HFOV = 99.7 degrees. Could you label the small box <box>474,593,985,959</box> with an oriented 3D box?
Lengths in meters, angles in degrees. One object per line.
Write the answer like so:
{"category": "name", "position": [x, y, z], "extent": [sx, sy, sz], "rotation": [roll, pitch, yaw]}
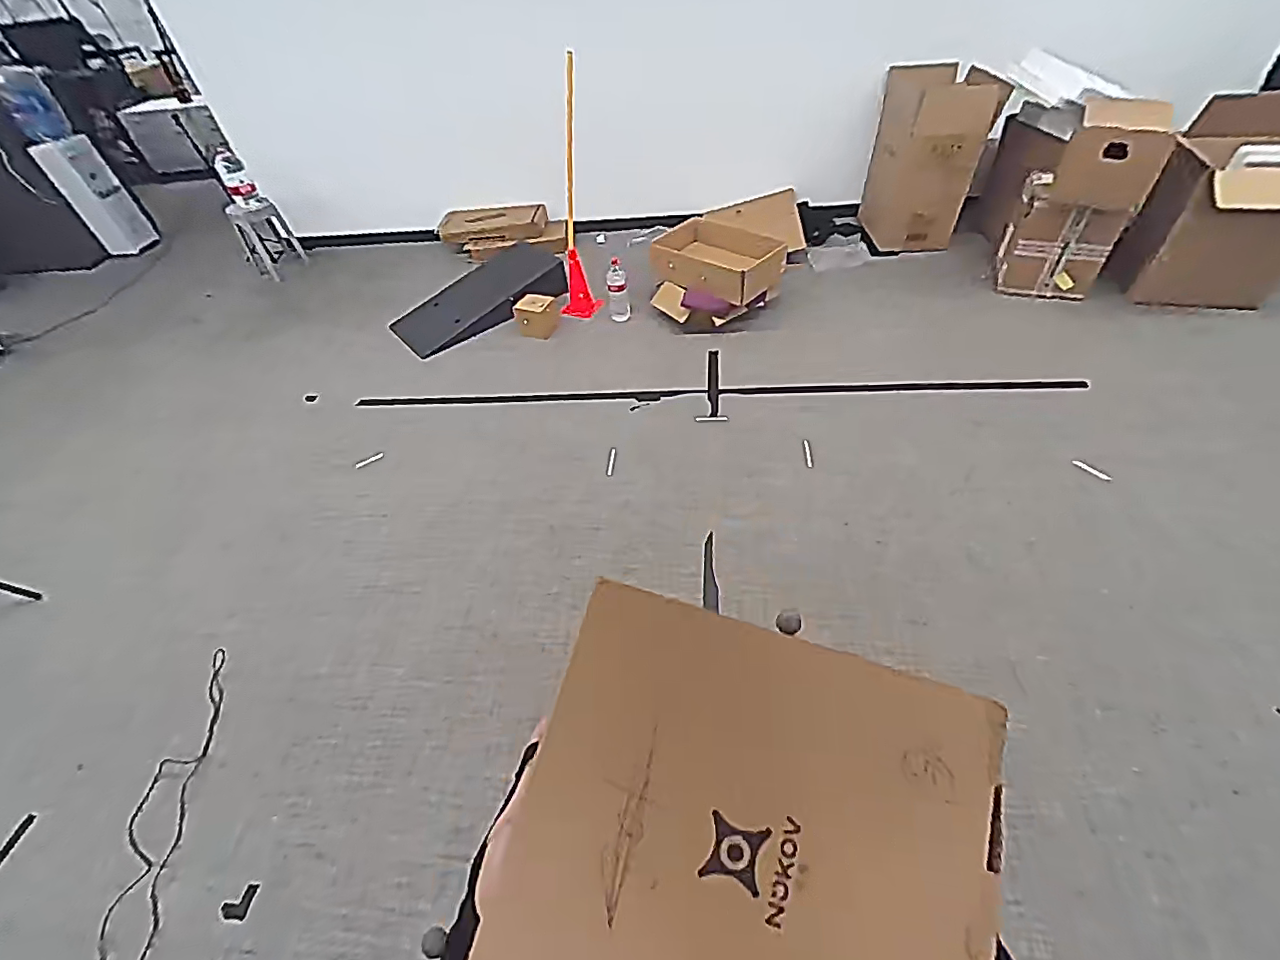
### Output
{"category": "small box", "position": [0.042, 0.170, 0.290], "extent": [0.179, 0.176, 0.168], "rotation": [15, 74, 8]}
